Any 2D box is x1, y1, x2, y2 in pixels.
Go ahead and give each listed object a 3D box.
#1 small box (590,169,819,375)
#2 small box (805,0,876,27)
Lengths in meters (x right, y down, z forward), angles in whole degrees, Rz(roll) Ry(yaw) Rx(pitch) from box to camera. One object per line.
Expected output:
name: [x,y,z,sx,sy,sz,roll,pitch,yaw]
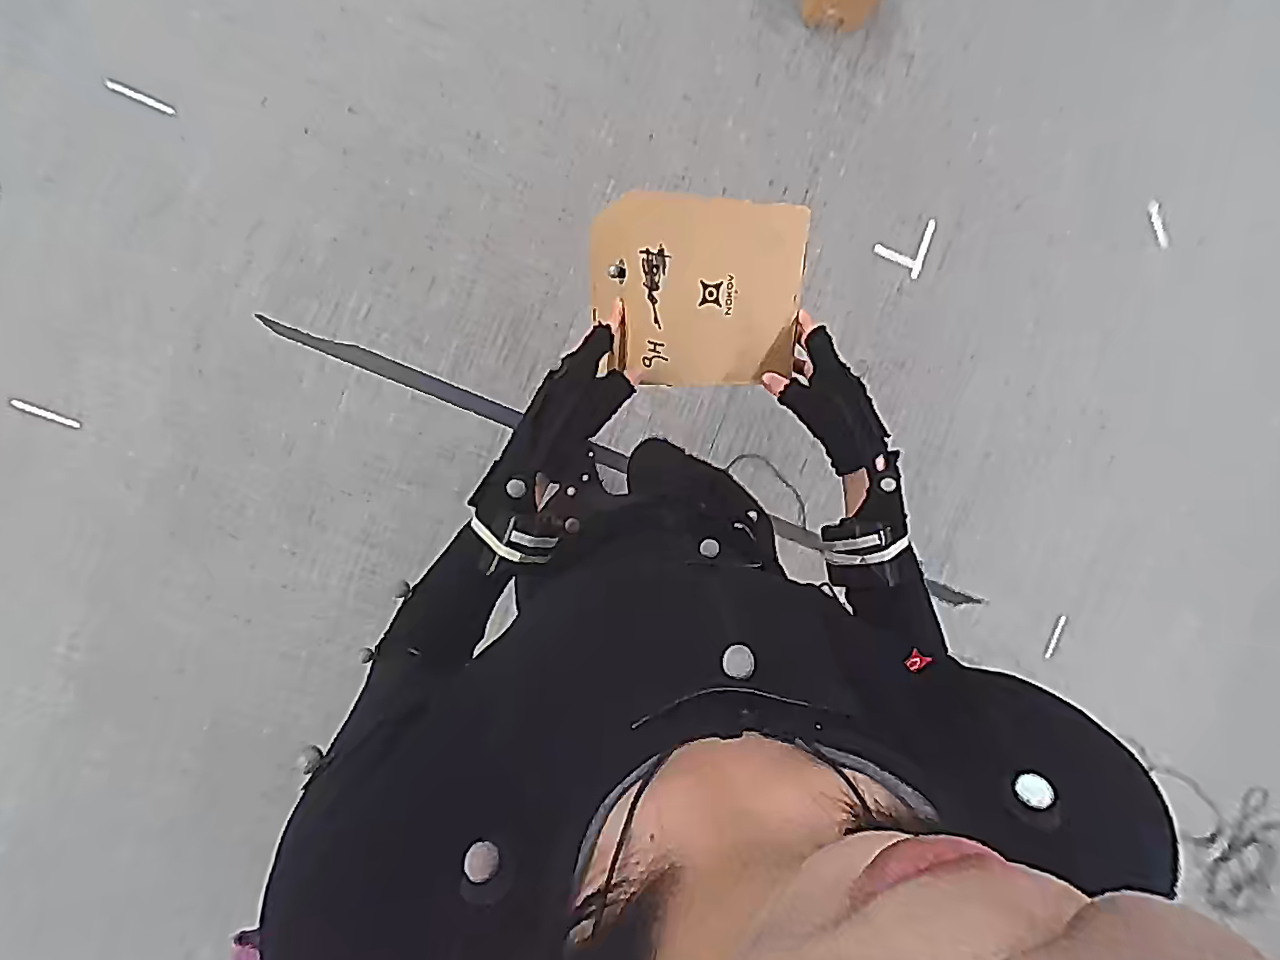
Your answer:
small box: [0.053,-0.203,0.563,0.179,0.176,0.168,-2,107,-17]
small box: [0.546,-1.351,1.417,0.168,0.176,0.179,2,94,-6]
